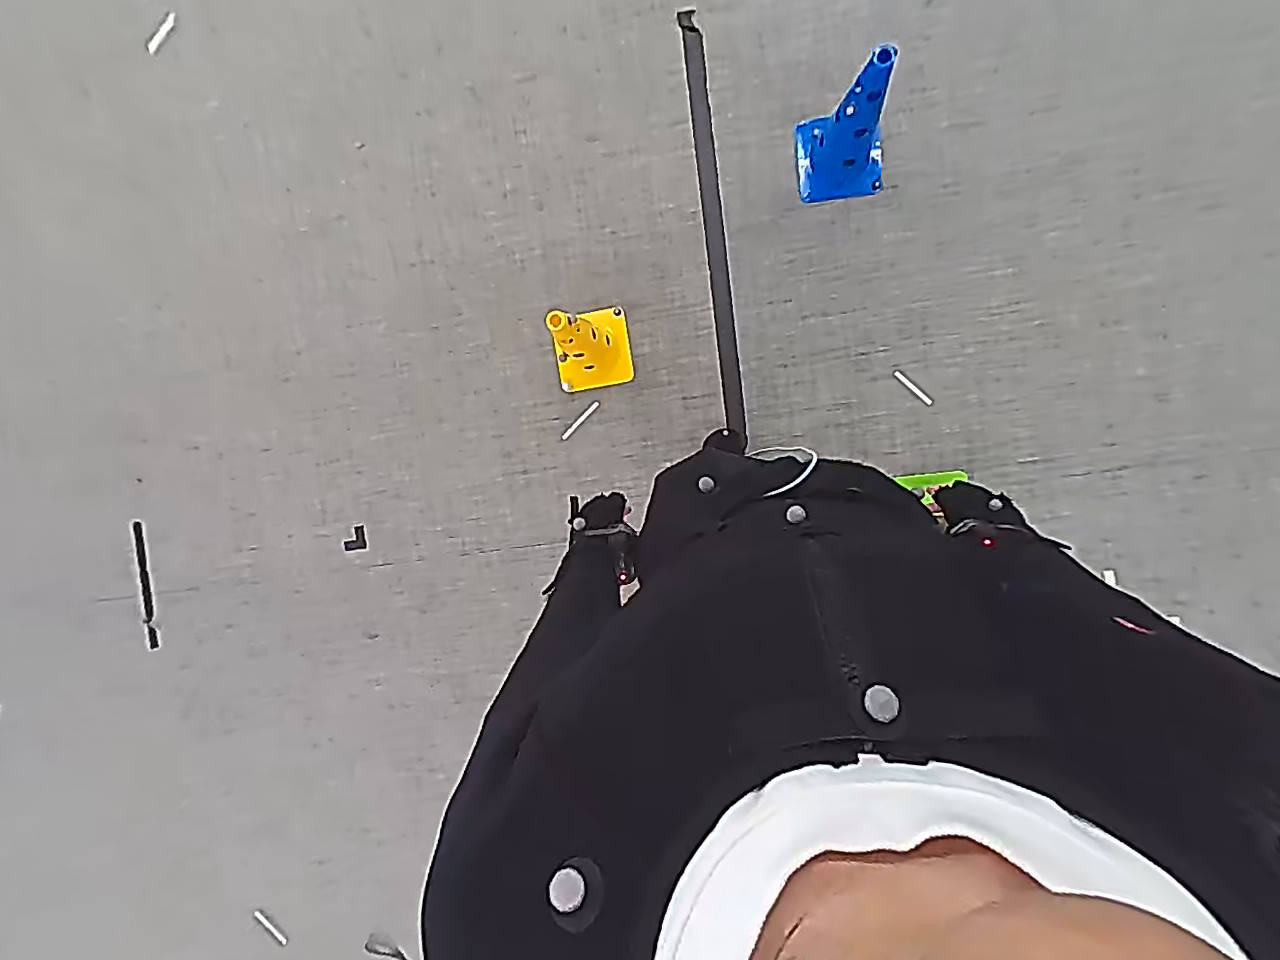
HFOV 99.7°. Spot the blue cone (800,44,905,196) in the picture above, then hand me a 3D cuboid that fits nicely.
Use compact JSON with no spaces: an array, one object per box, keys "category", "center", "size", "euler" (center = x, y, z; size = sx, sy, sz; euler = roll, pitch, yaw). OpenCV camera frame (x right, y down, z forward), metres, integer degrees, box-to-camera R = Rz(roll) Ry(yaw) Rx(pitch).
[{"category":"blue cone","center":[0.480,-0.798,1.181],"size":[0.192,0.380,0.193],"euler":[-3,93,6]}]

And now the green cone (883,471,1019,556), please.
[{"category":"green cone","center":[0.702,0.095,1.186],"size":[0.202,0.368,0.200],"euler":[-7,92,6]}]
